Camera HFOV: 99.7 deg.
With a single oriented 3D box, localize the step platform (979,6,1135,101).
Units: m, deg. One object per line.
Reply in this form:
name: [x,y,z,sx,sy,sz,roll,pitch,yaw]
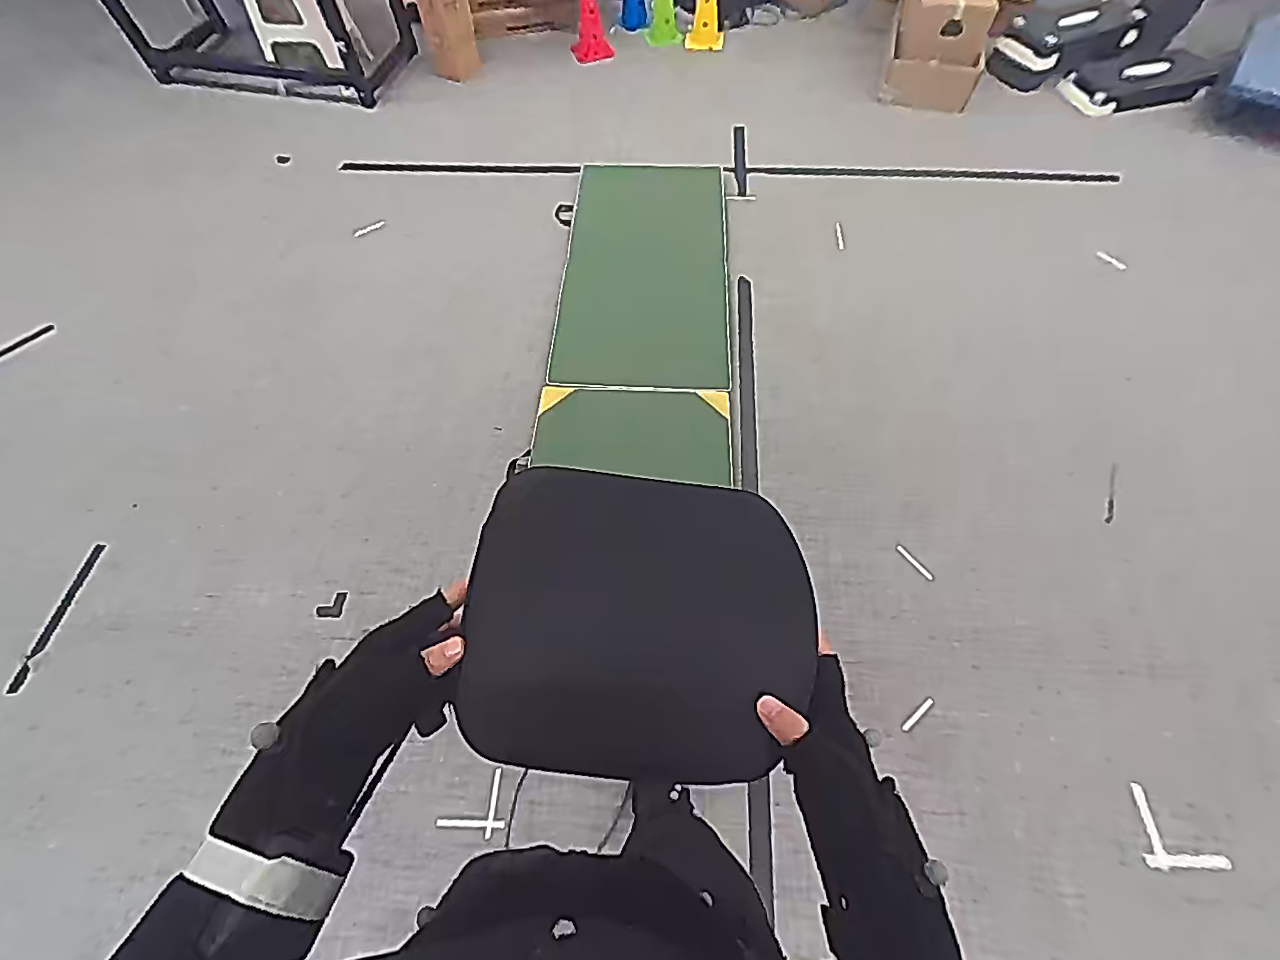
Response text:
step platform: [2.059,-2.113,2.672,0.684,0.204,0.286,-24,64,-11]
